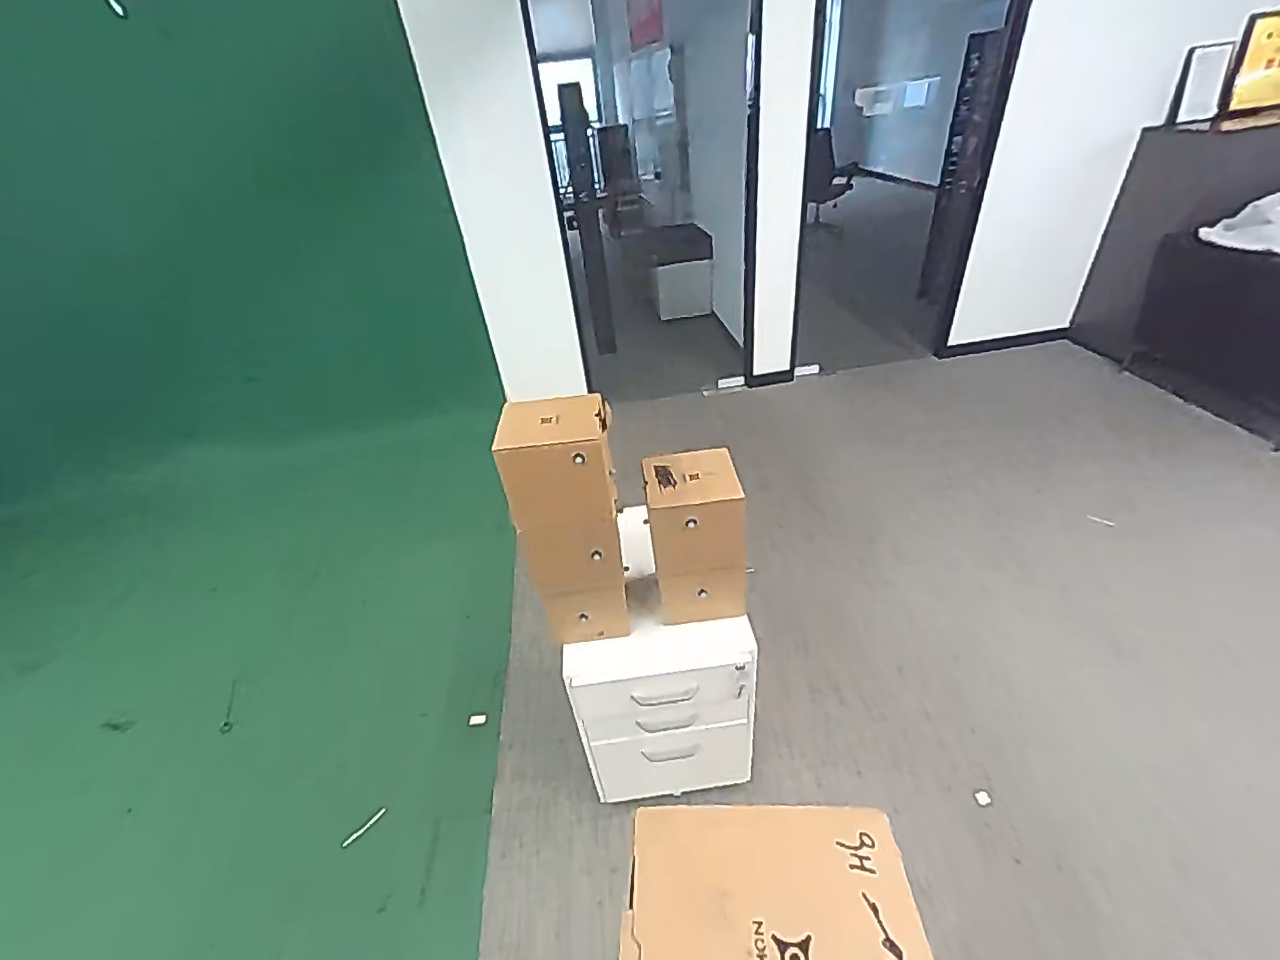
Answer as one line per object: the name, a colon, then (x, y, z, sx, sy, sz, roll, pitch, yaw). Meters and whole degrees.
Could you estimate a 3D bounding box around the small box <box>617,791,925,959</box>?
small box: (0.078, 0.334, 0.357, 0.179, 0.176, 0.168, -1, 33, 4)

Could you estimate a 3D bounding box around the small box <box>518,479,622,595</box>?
small box: (-0.128, 0.101, 1.046, 0.179, 0.176, 0.168, -8, 35, -2)

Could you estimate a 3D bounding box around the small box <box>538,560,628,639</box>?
small box: (-0.116, 0.222, 1.153, 0.168, 0.176, 0.179, -6, 36, -2)

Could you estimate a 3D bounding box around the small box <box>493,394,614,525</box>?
small box: (-0.143, -0.034, 0.955, 0.179, 0.176, 0.168, -6, 35, -1)

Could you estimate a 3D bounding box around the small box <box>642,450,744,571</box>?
small box: (0.104, 0.062, 1.060, 0.179, 0.176, 0.168, -7, 36, 1)
